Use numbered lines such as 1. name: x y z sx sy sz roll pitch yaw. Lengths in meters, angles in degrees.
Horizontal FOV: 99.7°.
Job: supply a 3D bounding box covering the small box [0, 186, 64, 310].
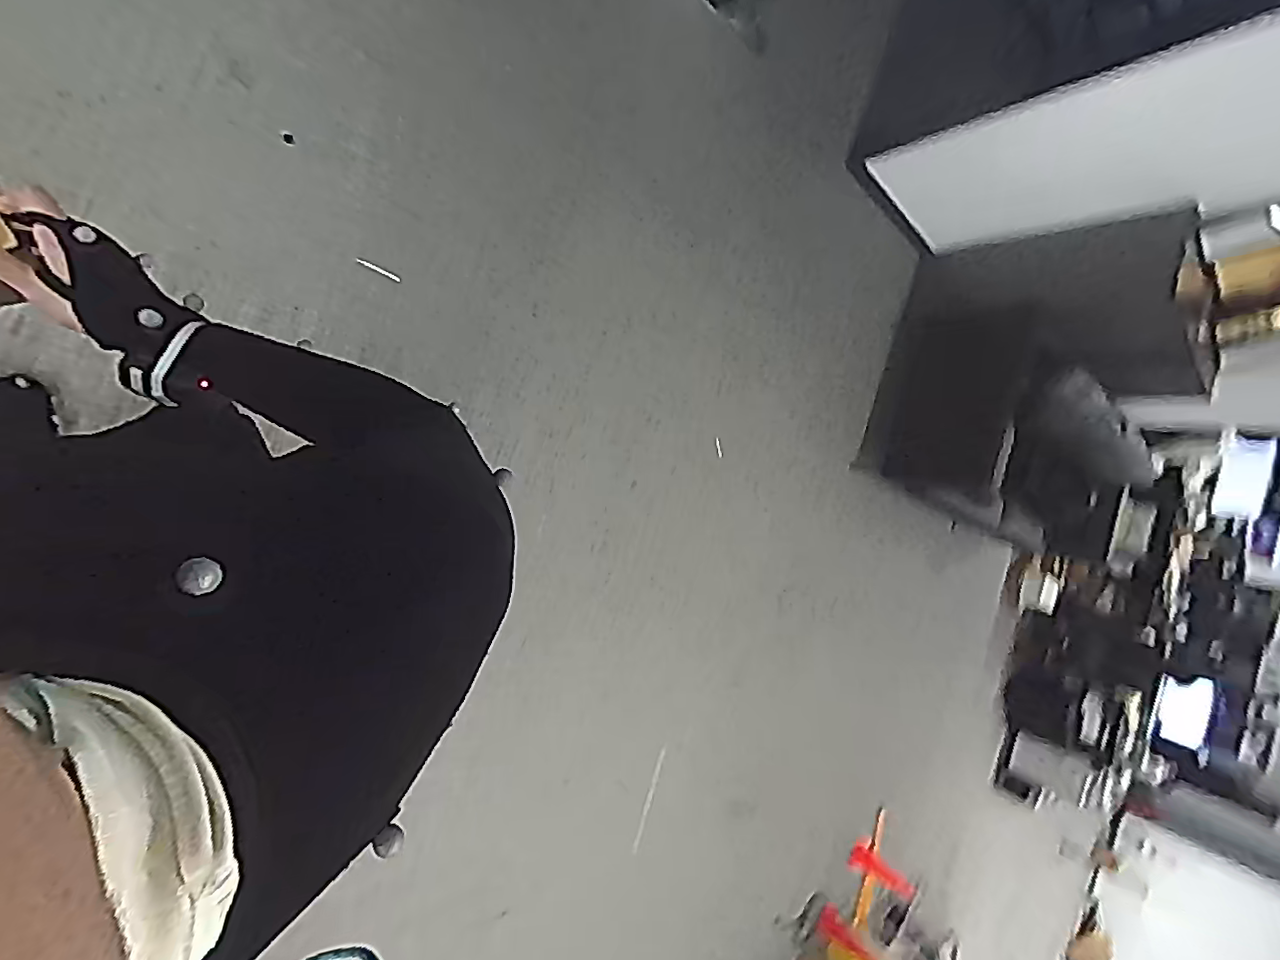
1. small box: -0.659 -0.235 0.461 0.168 0.176 0.179 -34 112 -33
